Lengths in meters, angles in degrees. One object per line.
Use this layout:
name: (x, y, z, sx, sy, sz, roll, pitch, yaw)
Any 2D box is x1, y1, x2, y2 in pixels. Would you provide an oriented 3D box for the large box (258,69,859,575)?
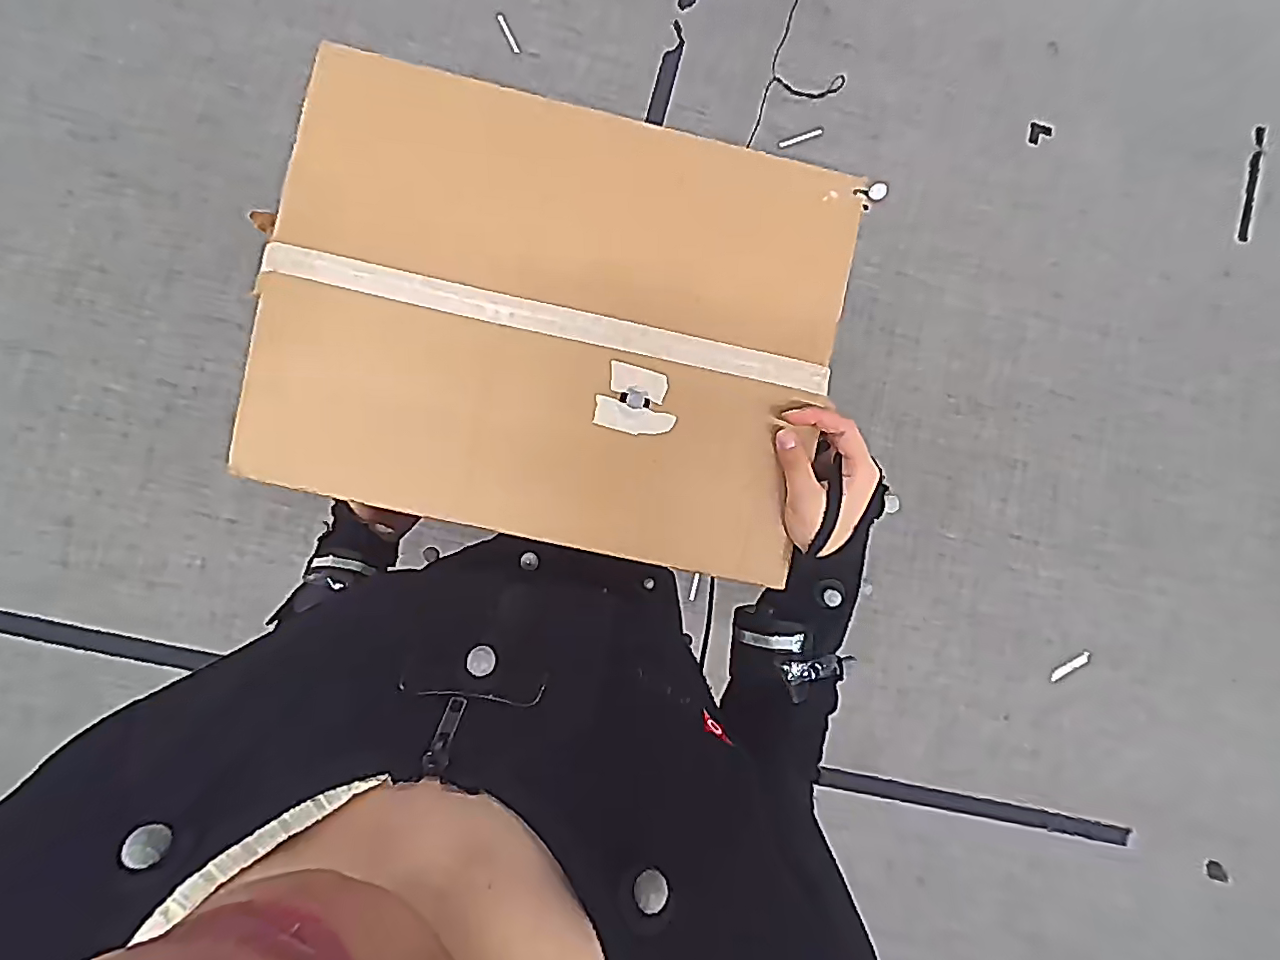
large box: (-0.064, -0.112, 0.548, 0.408, 0.320, 0.320, 12, 90, -4)
